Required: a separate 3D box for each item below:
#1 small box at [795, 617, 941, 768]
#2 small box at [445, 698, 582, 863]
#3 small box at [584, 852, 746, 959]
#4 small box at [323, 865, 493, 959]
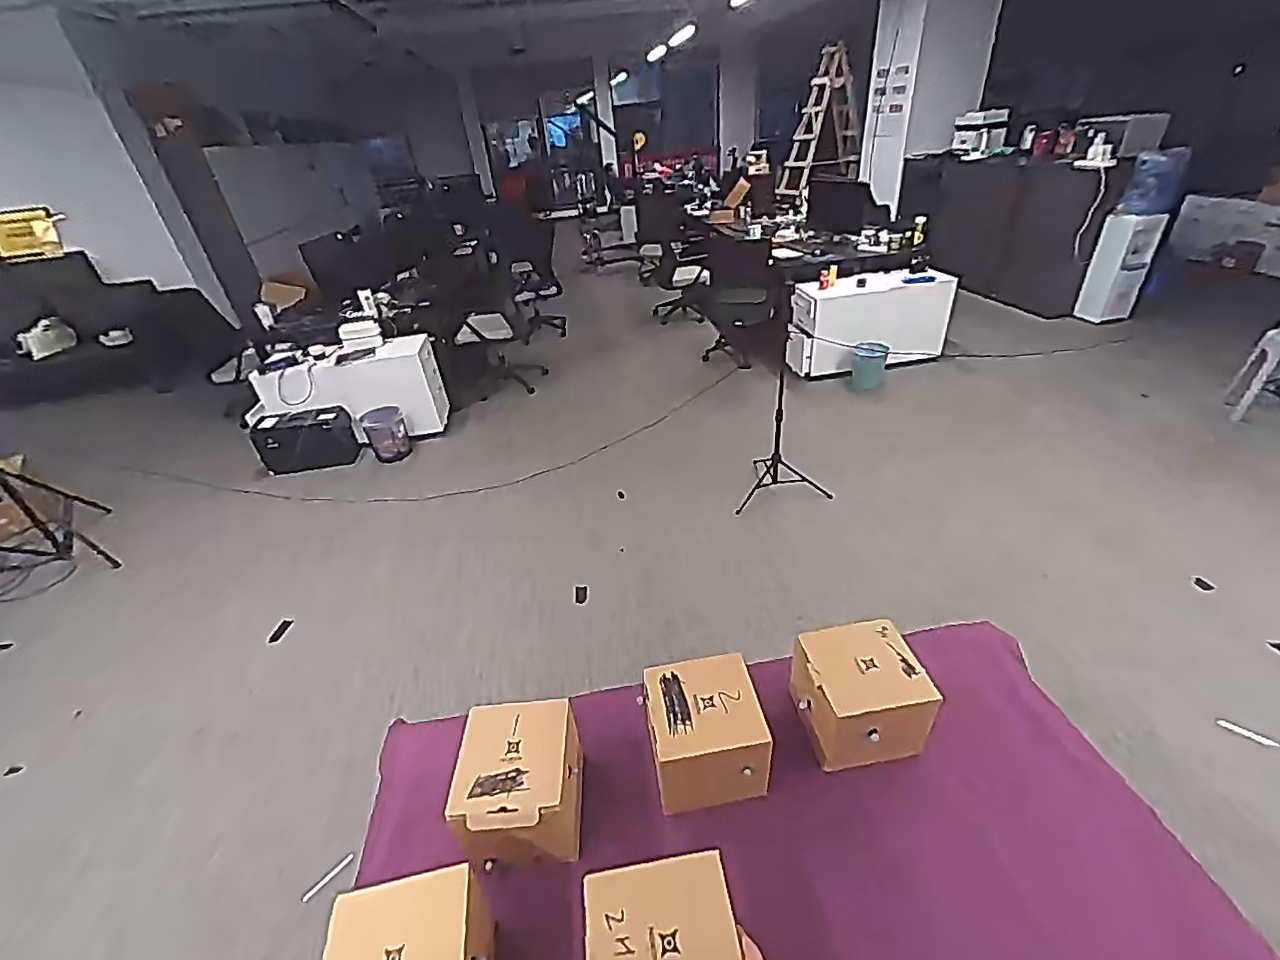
[{"bbox_3d":[0.378,0.369,0.934,0.179,0.176,0.168,-10,36,-3],"label":"small box"},{"bbox_3d":[-0.186,0.479,0.859,0.168,0.176,0.179,-5,33,0],"label":"small box"},{"bbox_3d":[0.034,0.587,0.648,0.179,0.176,0.168,-10,33,-3],"label":"small box"},{"bbox_3d":[-0.277,0.619,0.657,0.168,0.176,0.179,-9,34,-9],"label":"small box"}]
